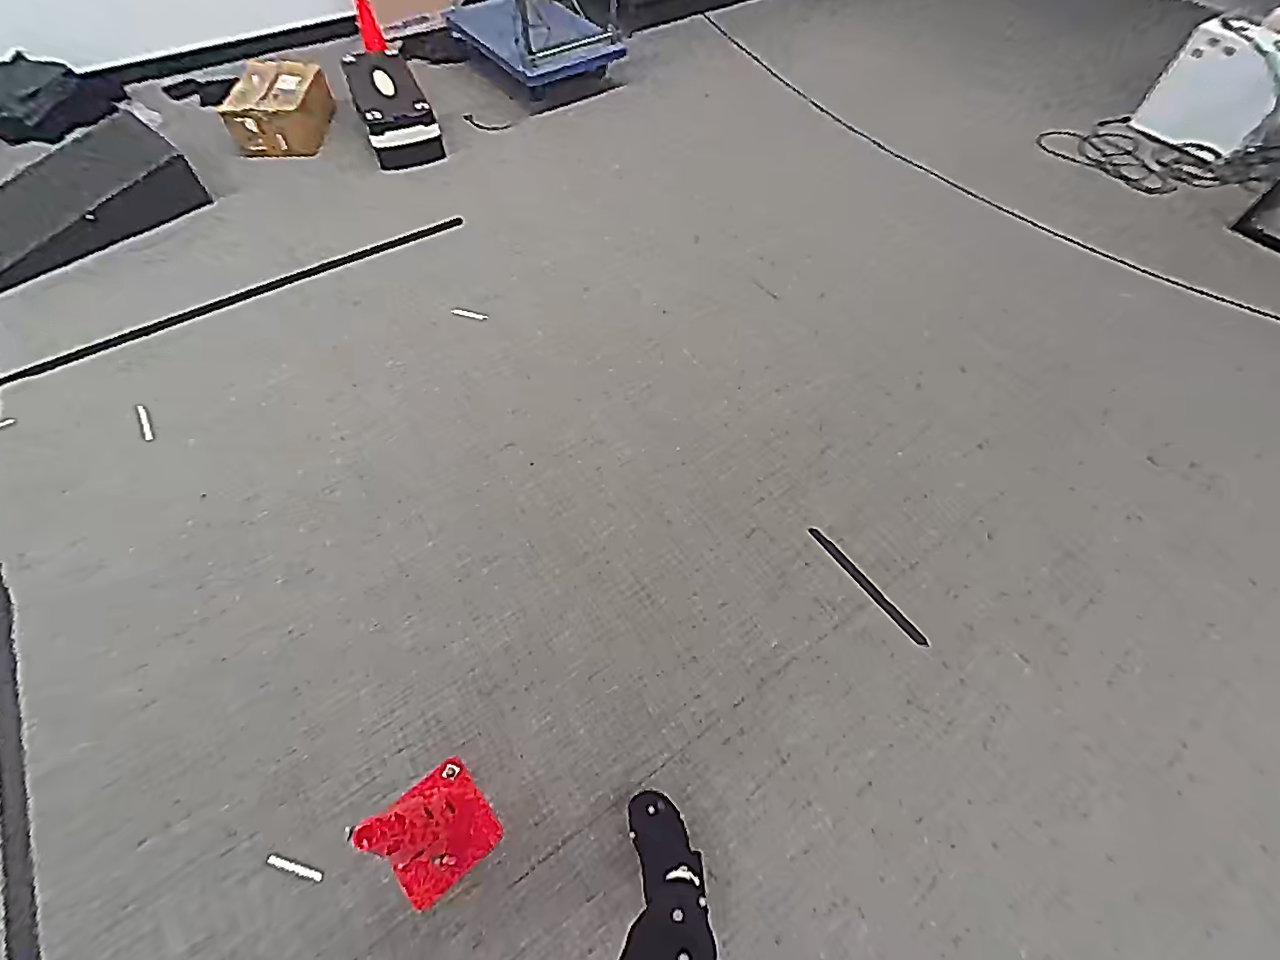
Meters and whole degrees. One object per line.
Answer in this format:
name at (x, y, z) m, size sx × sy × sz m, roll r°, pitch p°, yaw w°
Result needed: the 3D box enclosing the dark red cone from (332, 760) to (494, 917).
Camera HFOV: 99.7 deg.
dark red cone at (-0.414, 0.610, 0.923) m, size 0.201 × 0.394 × 0.202 m, roll -37°, pitch 65°, yaw -20°
